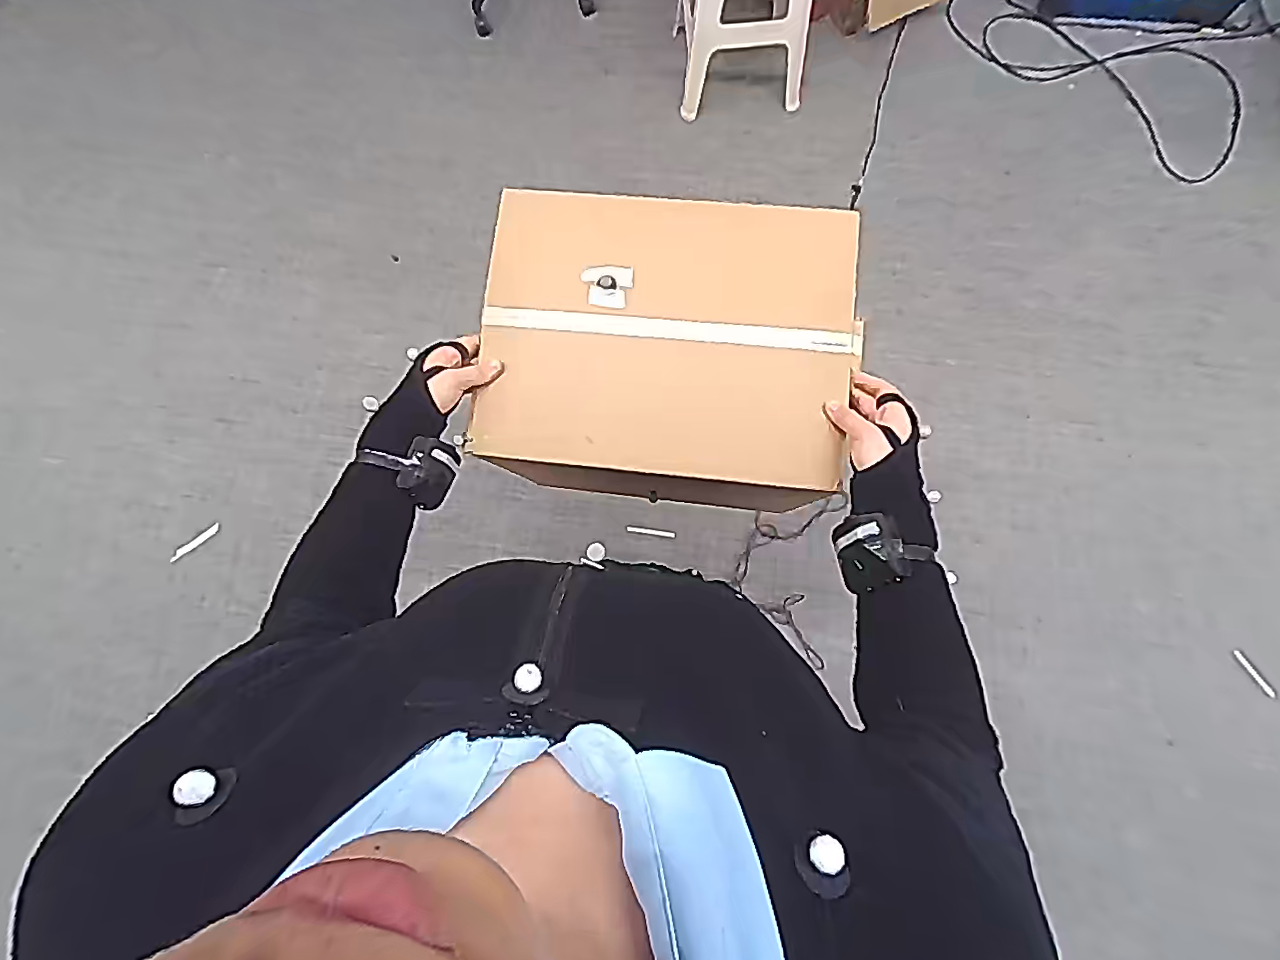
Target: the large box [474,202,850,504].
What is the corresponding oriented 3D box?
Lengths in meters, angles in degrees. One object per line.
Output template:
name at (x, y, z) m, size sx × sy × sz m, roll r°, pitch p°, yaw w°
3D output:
large box at (0.040, -0.144, 0.746) m, size 0.408 × 0.320 × 0.320 m, roll 5°, pitch 82°, yaw 6°
